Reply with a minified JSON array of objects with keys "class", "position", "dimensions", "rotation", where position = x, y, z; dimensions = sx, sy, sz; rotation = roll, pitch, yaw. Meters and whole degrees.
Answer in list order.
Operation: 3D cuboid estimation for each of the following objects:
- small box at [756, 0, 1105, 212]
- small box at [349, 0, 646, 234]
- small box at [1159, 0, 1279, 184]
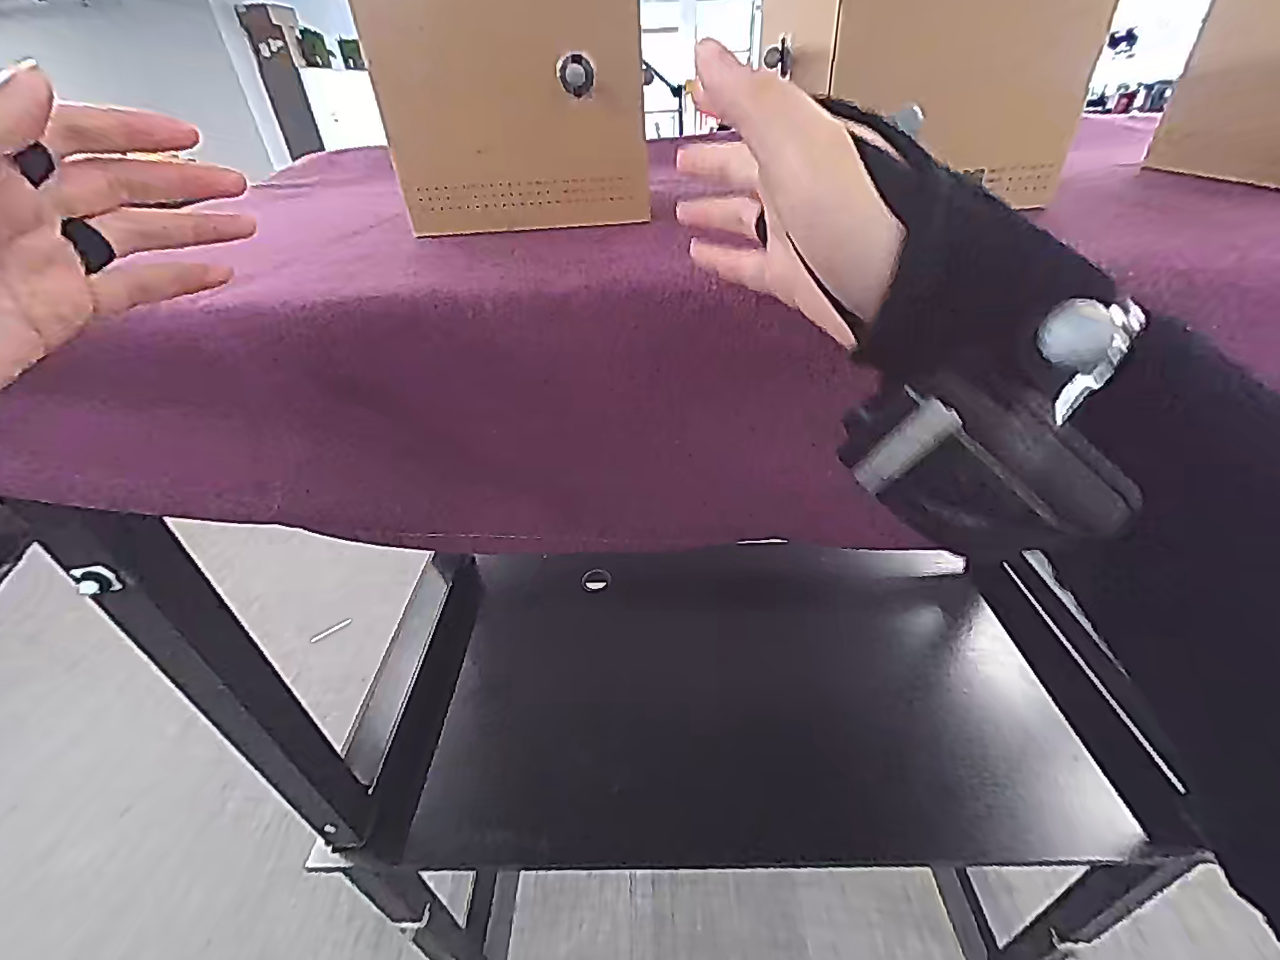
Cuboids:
[{"class":"small box","position":[0.186,-0.293,0.382],"dimensions":[0.168,0.176,0.179],"rotation":[-5,35,-2]},{"class":"small box","position":[-0.086,-0.294,0.408],"dimensions":[0.179,0.176,0.168],"rotation":[-4,35,-1]},{"class":"small box","position":[0.517,-0.296,0.356],"dimensions":[0.168,0.176,0.179],"rotation":[0,35,5]}]
